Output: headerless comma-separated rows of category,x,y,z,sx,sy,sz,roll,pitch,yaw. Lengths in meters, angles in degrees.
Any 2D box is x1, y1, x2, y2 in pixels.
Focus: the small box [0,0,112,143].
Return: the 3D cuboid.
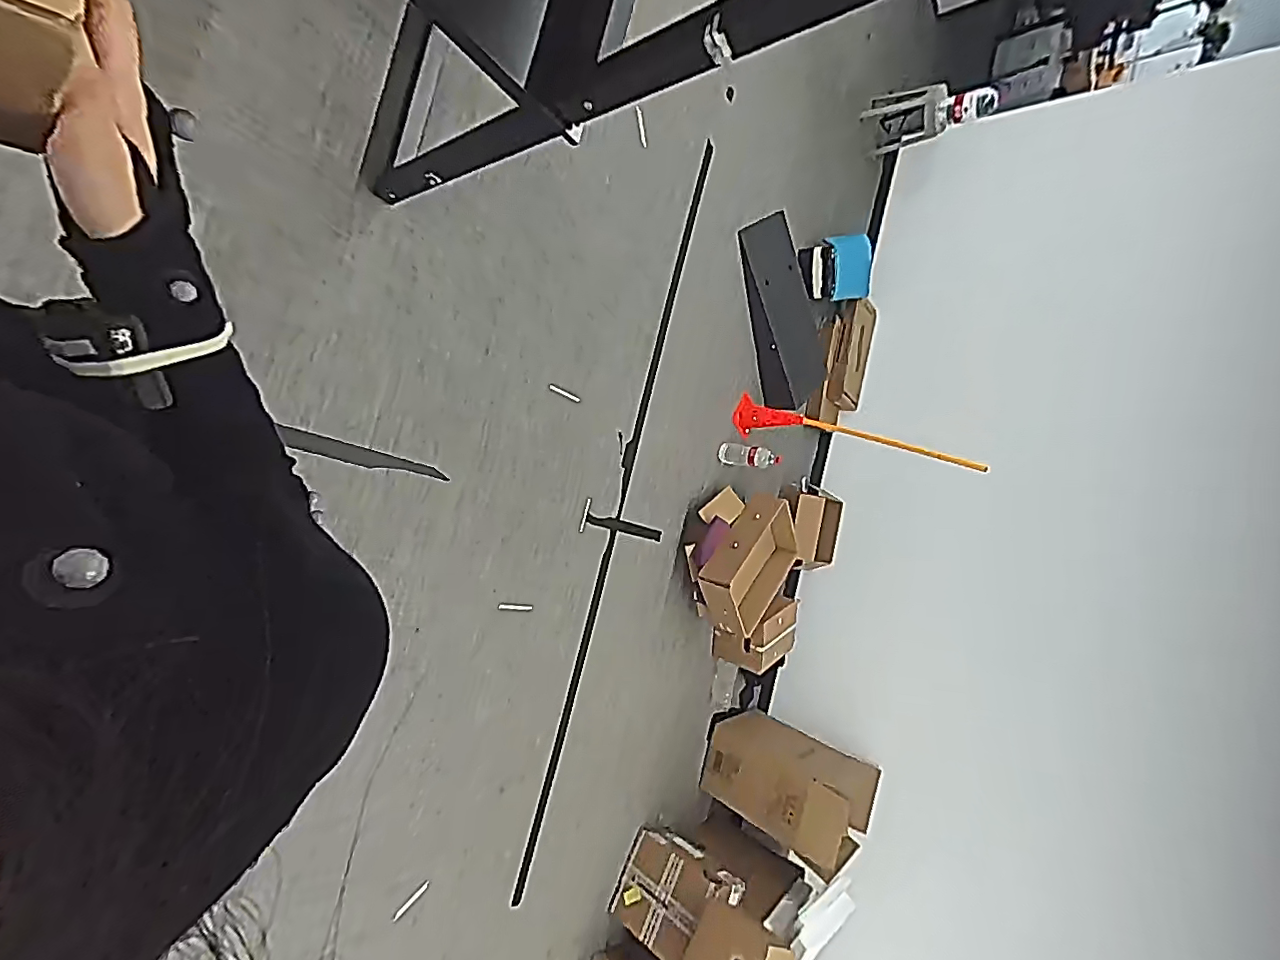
small box,-0.294,-0.241,0.168,0.168,0.176,0.179,-6,103,-52
